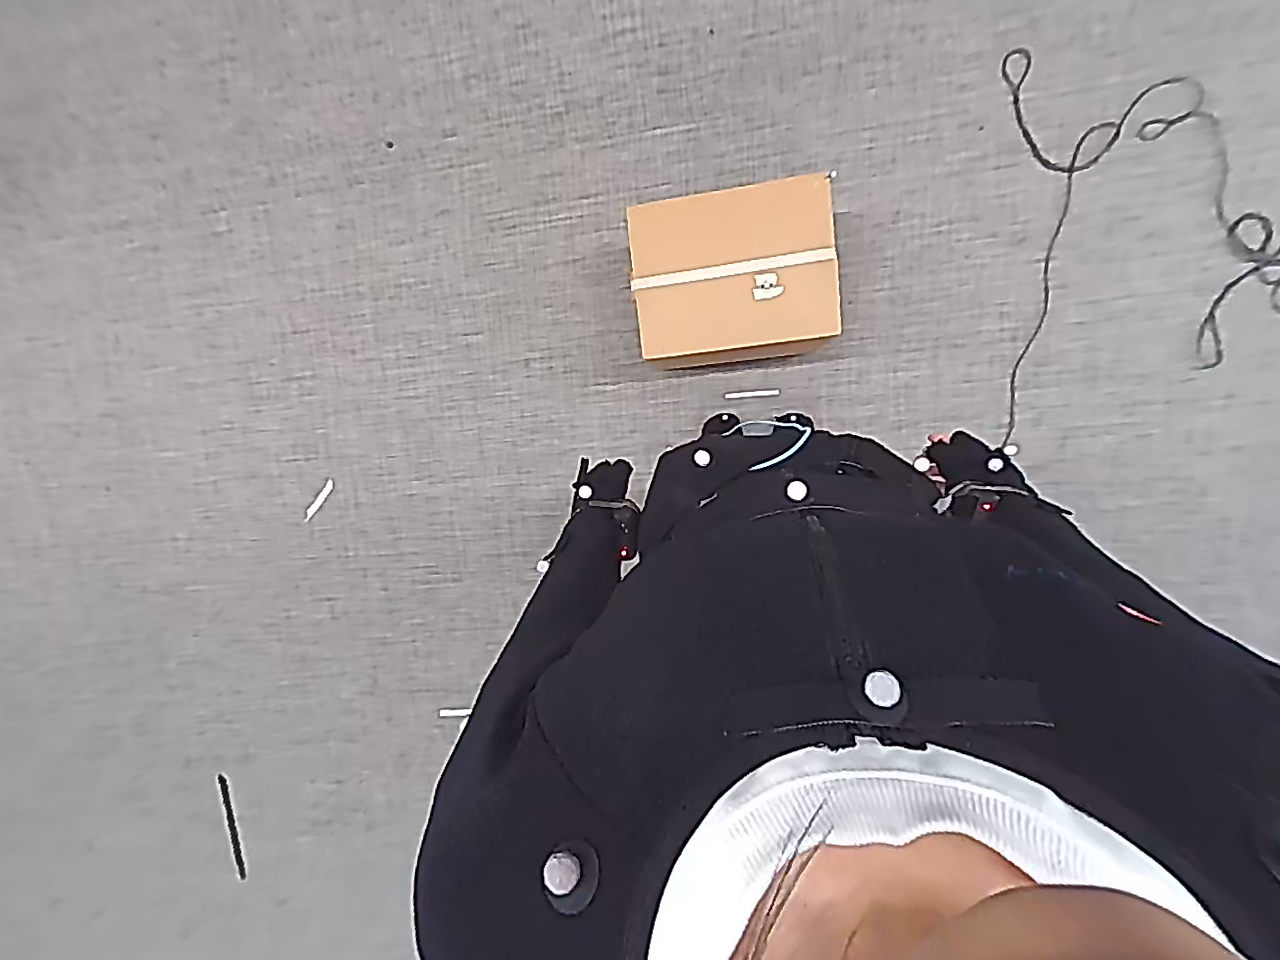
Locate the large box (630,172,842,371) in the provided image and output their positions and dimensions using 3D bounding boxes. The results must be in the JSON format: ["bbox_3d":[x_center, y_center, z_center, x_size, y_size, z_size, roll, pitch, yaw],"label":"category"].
[{"bbox_3d":[0.213,-0.444,1.242,0.408,0.320,0.320,-6,97,10],"label":"large box"}]

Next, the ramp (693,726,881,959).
[{"bbox_3d":[0.396,1.194,1.478,0.509,0.206,0.991,-3,96,11],"label":"ramp"}]
